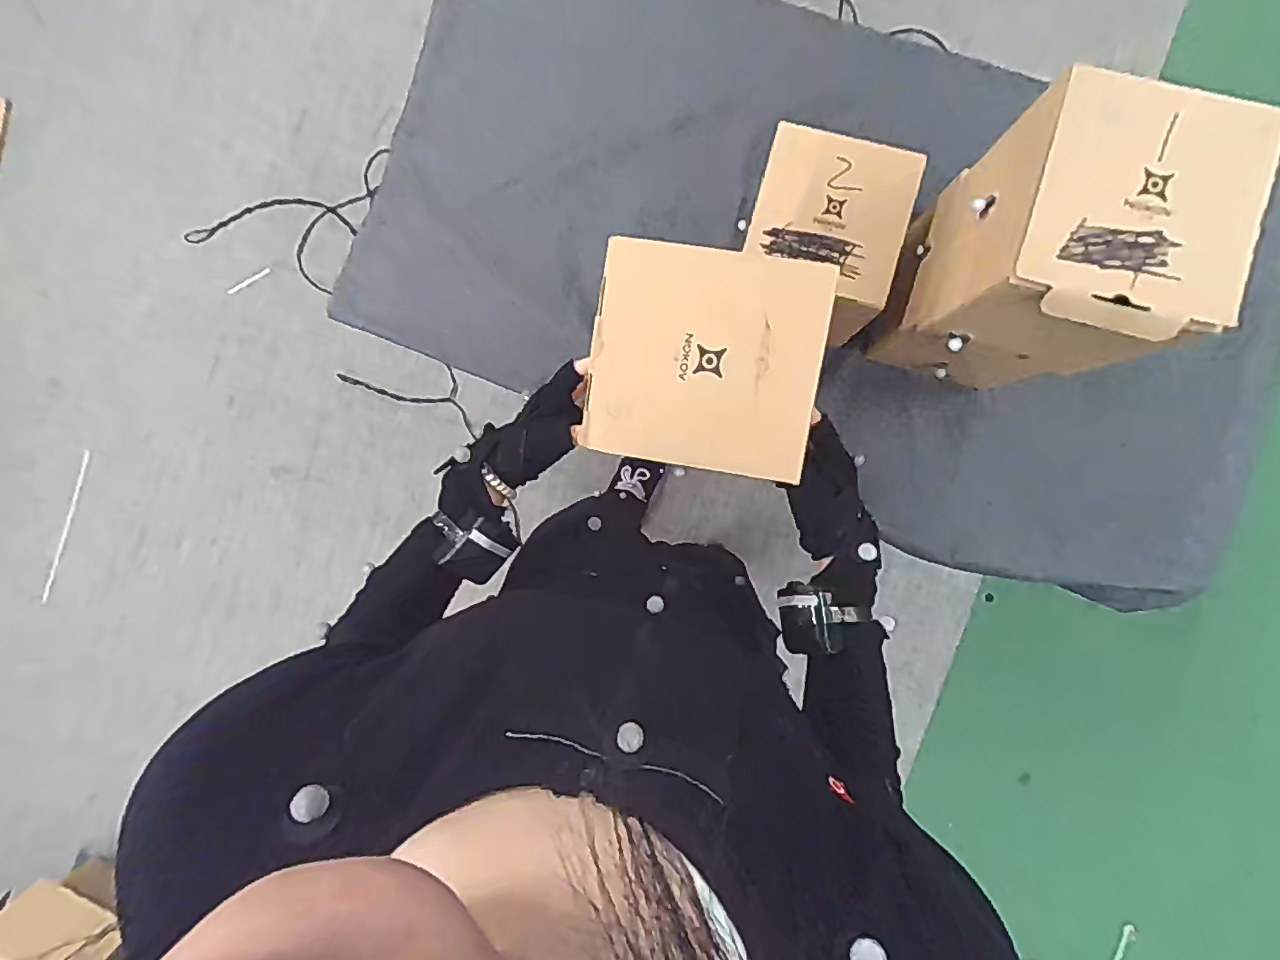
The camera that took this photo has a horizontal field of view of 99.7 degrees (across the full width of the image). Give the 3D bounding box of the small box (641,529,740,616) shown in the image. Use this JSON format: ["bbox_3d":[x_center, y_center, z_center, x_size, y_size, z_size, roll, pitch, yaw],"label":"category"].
[{"bbox_3d":[0.130,0.249,1.414,0.179,0.176,0.168,28,60,-20],"label":"small box"}]

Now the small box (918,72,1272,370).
[{"bbox_3d":[0.388,-0.216,0.501,0.168,0.176,0.179,16,90,3],"label":"small box"}]

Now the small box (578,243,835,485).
[{"bbox_3d":[0.056,-0.097,0.498,0.179,0.176,0.168,10,97,4],"label":"small box"}]
